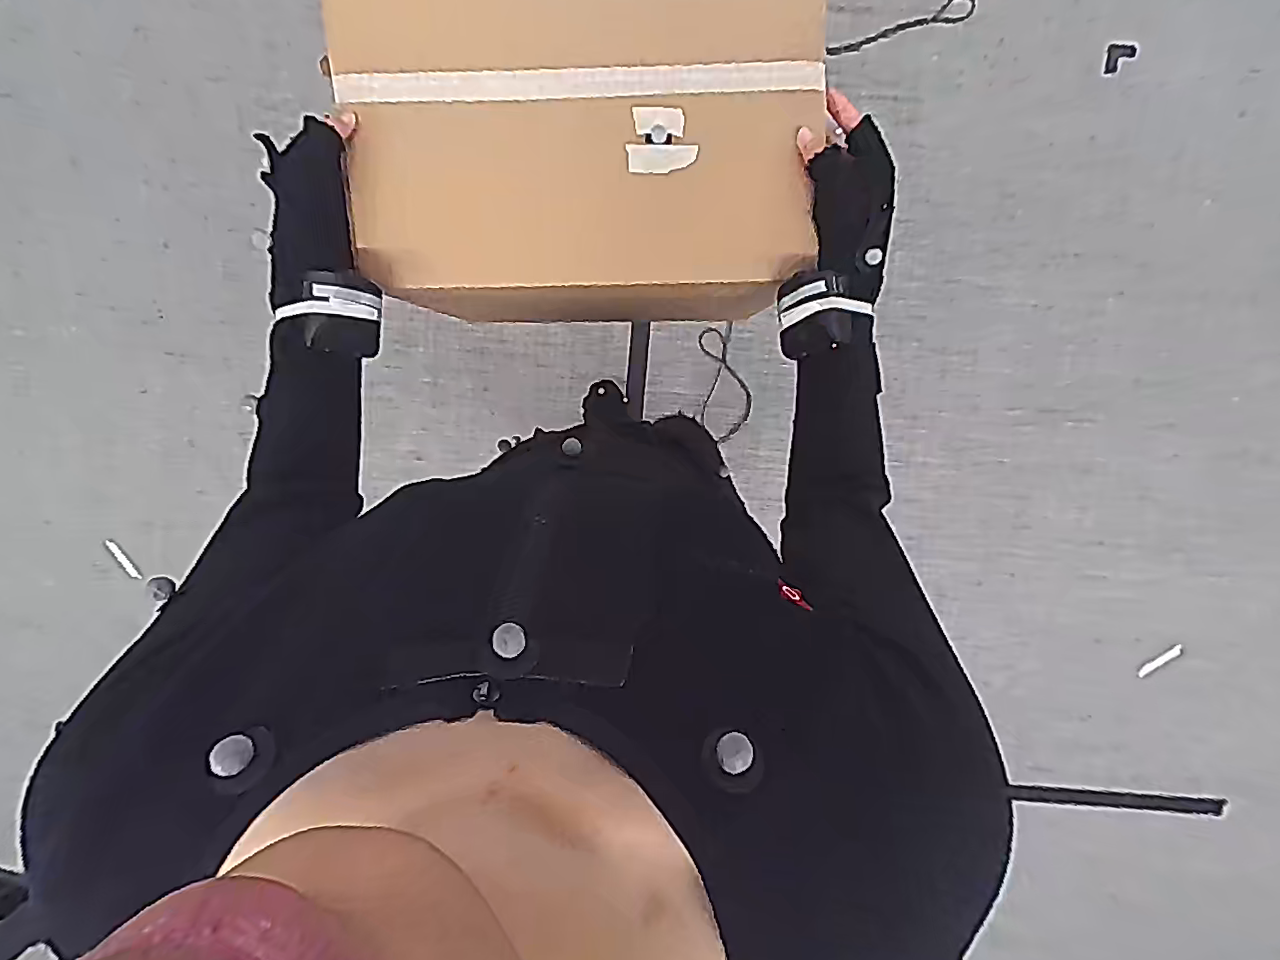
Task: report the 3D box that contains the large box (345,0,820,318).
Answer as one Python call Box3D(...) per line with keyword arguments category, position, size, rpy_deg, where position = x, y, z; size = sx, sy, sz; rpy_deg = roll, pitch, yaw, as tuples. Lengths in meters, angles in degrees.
Box3D(category="large box", position=(-0.048, -0.364, 0.609), size=(0.408, 0.320, 0.320), rpy_deg=(-1, 102, 0))
